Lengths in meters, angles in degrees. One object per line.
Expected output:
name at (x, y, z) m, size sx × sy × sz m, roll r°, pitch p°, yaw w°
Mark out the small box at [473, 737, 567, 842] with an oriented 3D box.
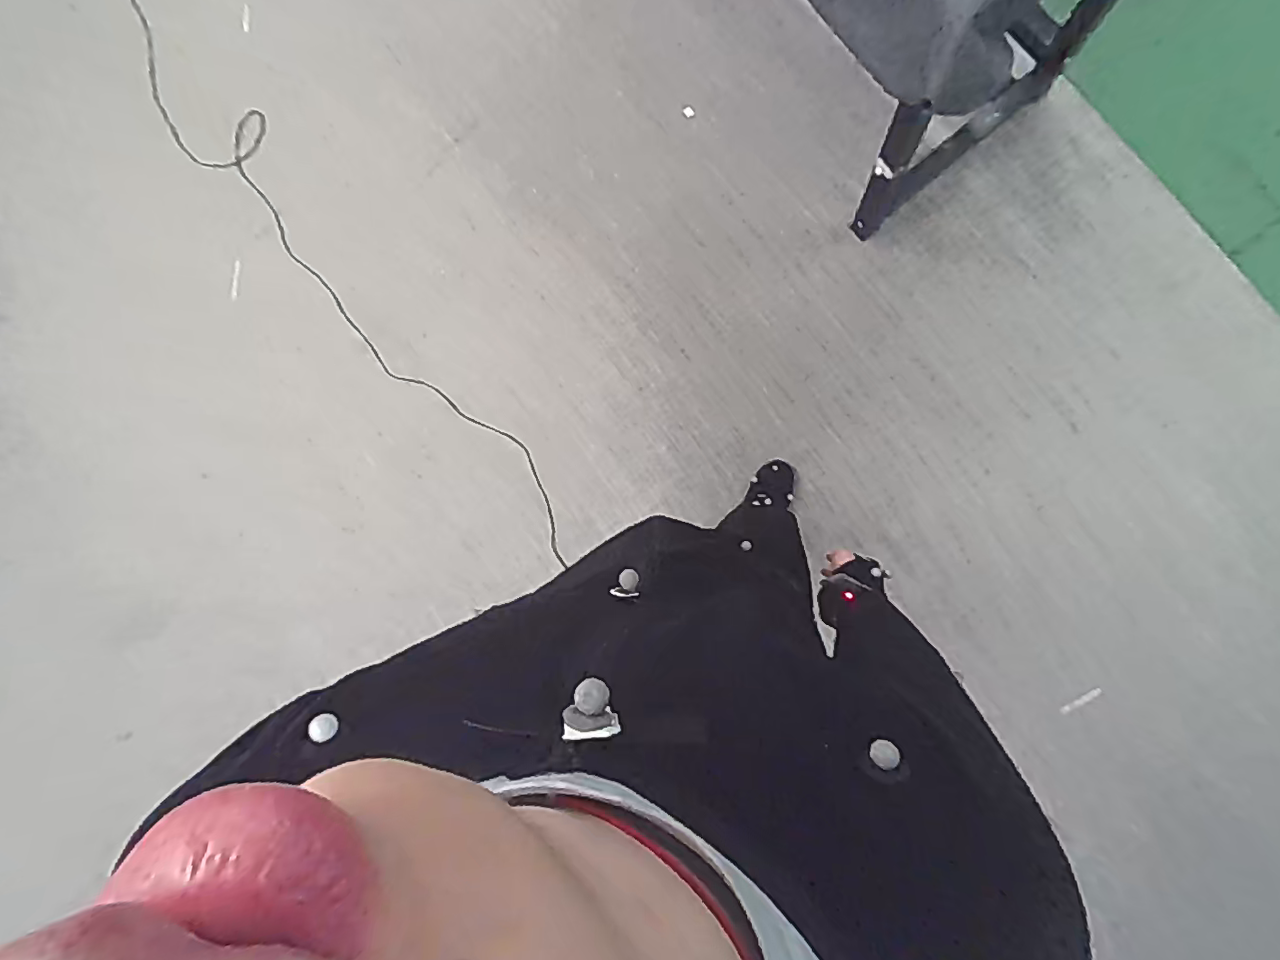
small box at (-0.341, 0.889, 1.569) m, size 0.179 × 0.176 × 0.168 m, roll -36°, pitch 83°, yaw 9°
